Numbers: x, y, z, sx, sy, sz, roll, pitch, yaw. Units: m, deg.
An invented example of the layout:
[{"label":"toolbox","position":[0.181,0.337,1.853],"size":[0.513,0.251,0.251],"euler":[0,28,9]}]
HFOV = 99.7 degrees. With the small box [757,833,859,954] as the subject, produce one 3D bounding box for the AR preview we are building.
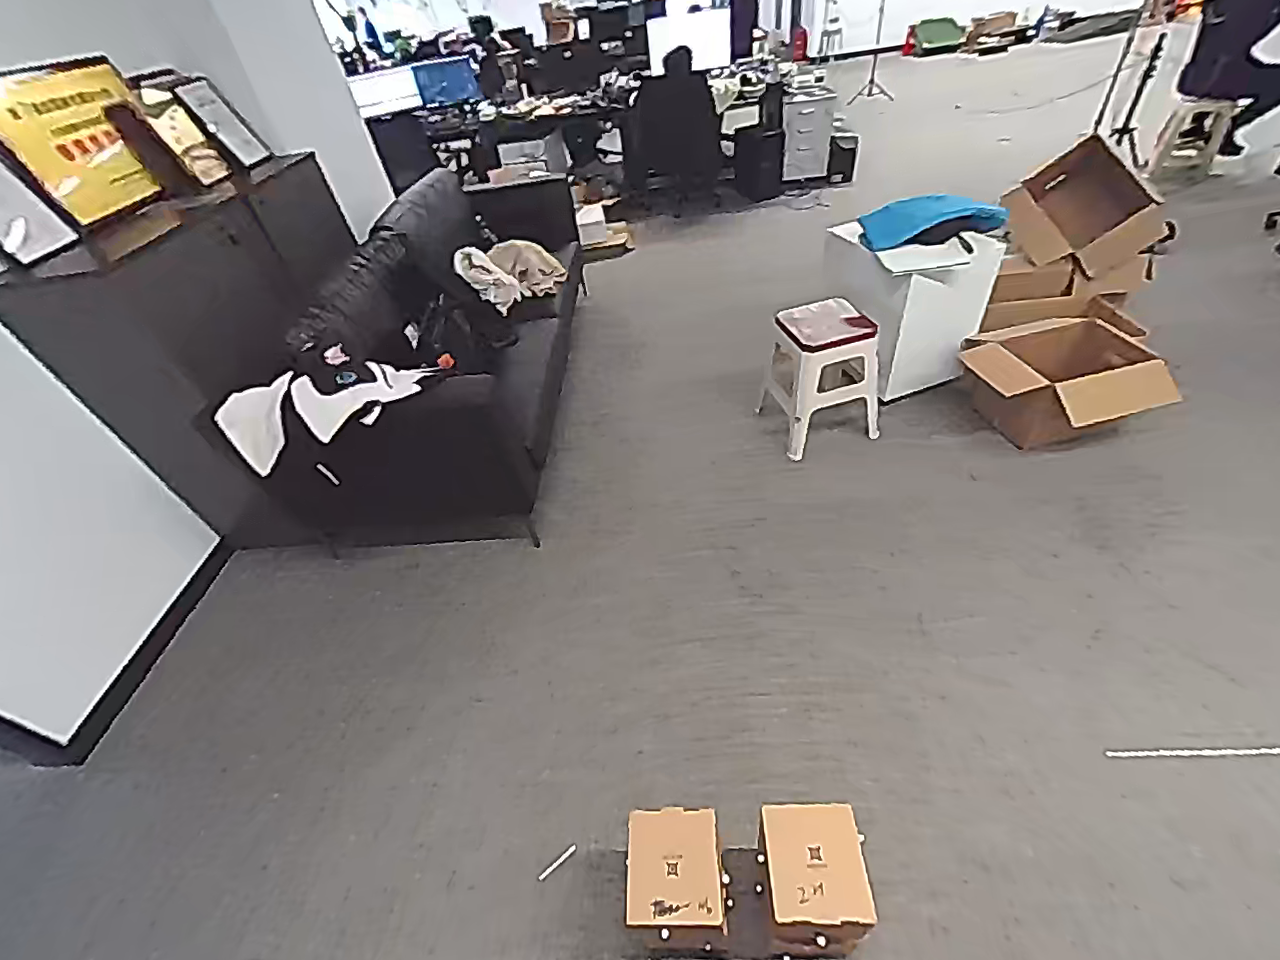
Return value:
[{"label":"small box","position":[0.334,0.847,1.106],"size":[0.168,0.176,0.179],"euler":[-4,42,6]}]
